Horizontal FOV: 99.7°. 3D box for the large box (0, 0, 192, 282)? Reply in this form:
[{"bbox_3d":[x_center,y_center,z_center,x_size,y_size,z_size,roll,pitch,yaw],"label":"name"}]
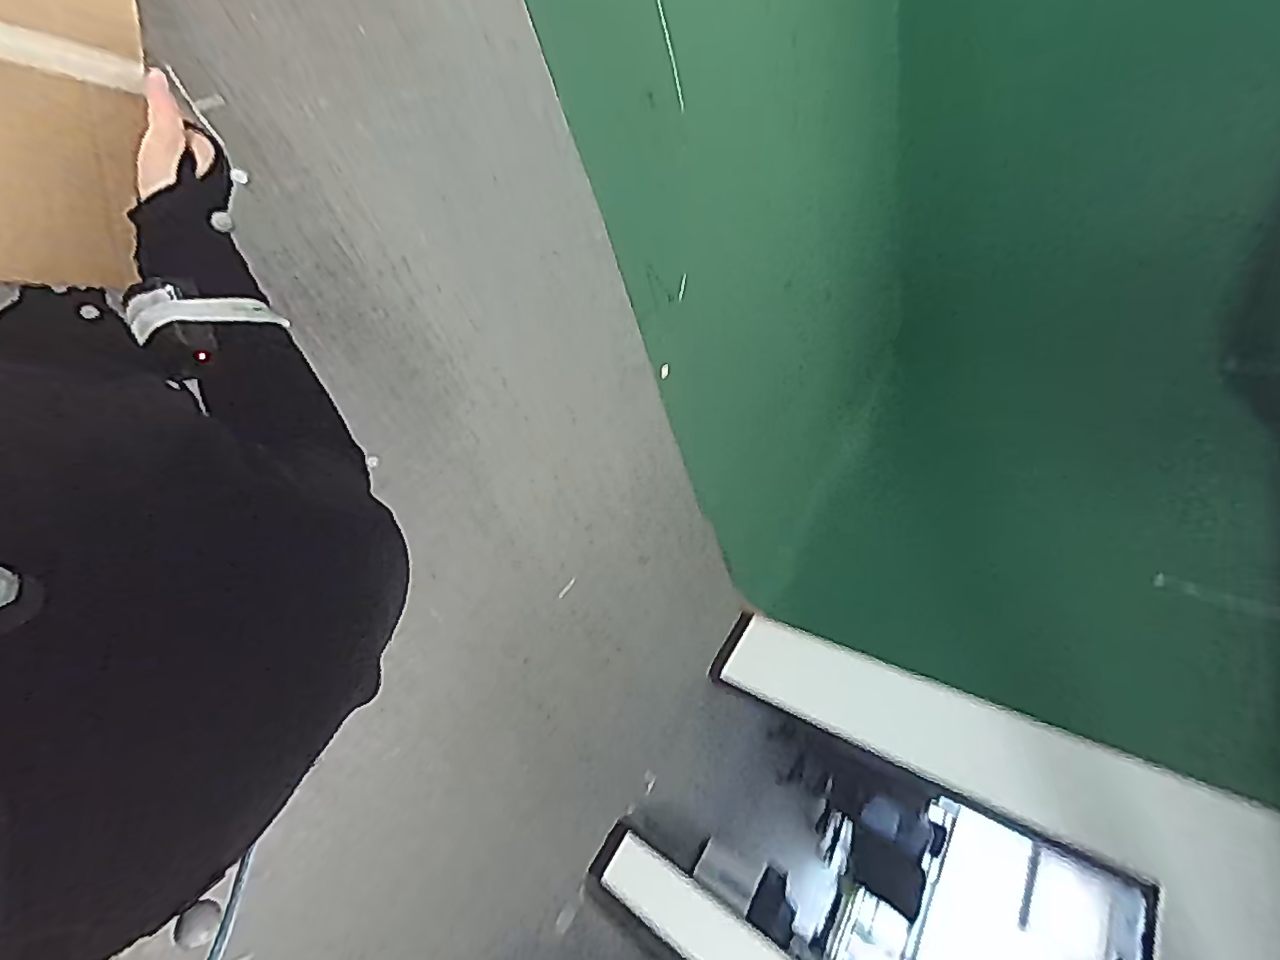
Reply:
[{"bbox_3d":[-0.609,-0.327,0.349,0.408,0.320,0.320,-18,128,-50],"label":"large box"}]
